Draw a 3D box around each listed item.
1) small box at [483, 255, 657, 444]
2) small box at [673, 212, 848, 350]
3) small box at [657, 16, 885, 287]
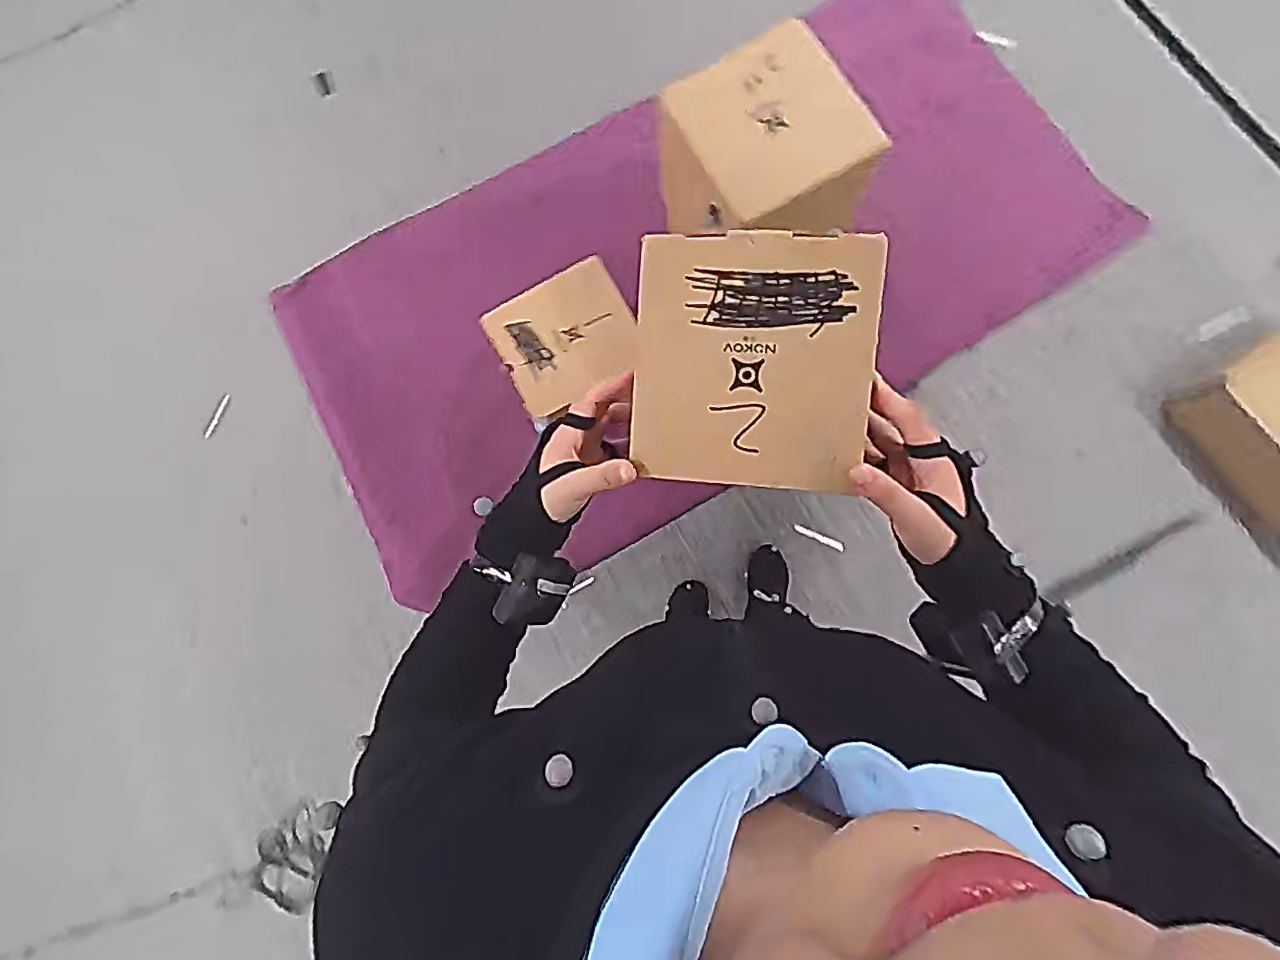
[{"bbox_3d":[-0.087,-0.171,0.769,0.179,0.176,0.168,-29,80,-1],"label":"small box"},{"bbox_3d":[0.158,-0.319,0.775,0.179,0.176,0.168,-29,80,0],"label":"small box"},{"bbox_3d":[0.135,-0.348,0.614,0.168,0.176,0.179,-29,79,0],"label":"small box"}]
